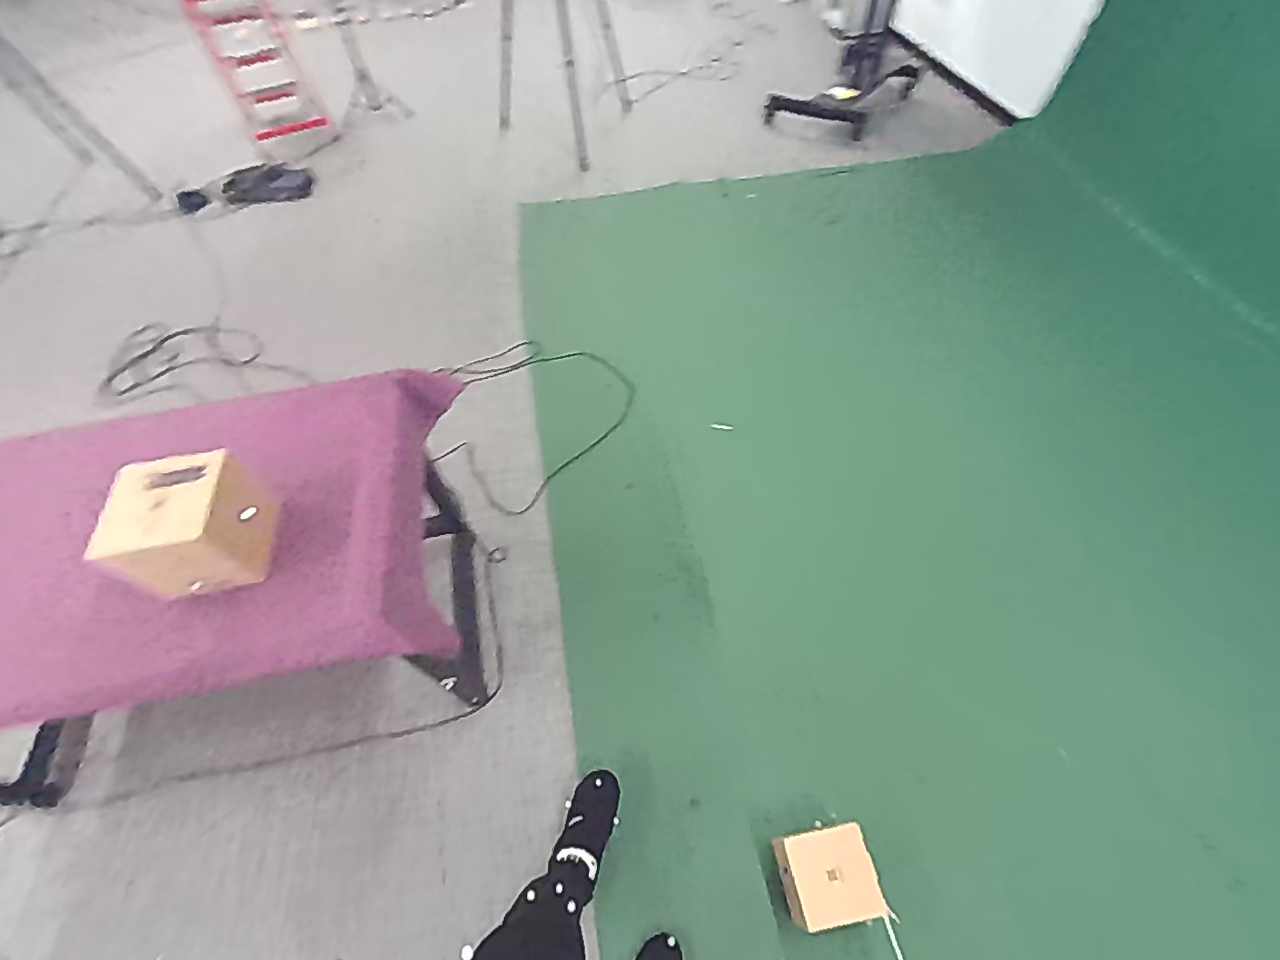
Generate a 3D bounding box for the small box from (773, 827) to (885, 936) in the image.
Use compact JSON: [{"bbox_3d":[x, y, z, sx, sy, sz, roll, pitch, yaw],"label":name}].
[{"bbox_3d":[0.408,0.892,1.208,0.179,0.176,0.168,-9,55,-6],"label":"small box"}]
